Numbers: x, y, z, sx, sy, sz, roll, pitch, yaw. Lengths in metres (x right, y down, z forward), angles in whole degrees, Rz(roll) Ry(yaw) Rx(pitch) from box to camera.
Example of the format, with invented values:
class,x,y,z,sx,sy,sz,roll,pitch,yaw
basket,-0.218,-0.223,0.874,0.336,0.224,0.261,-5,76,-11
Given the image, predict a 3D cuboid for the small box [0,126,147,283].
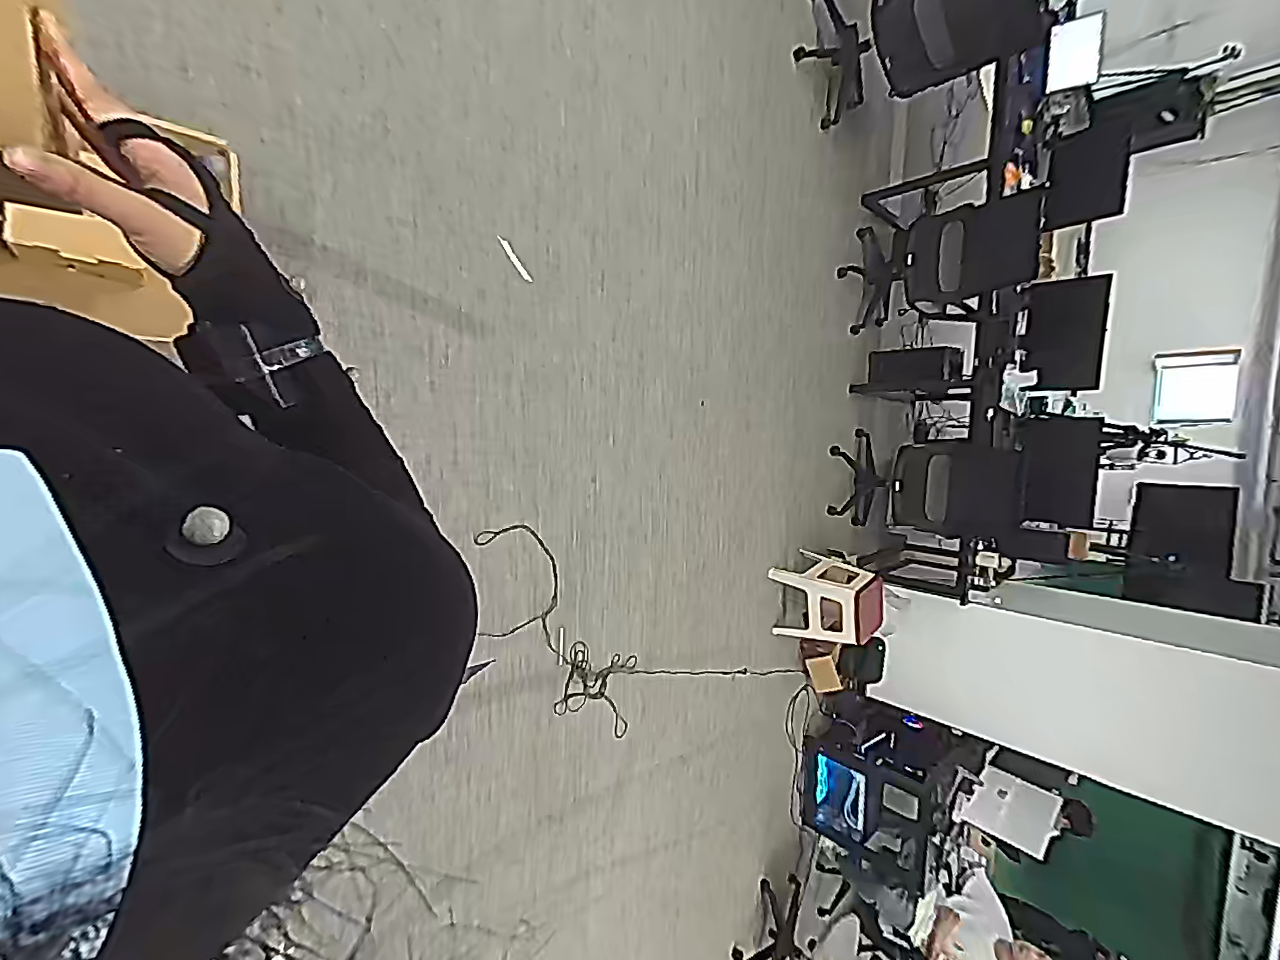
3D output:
class,x,y,z,sx,sy,sz,roll,pitch,yaw
small box,-0.994,-0.469,0.954,0.168,0.176,0.179,3,93,-45
